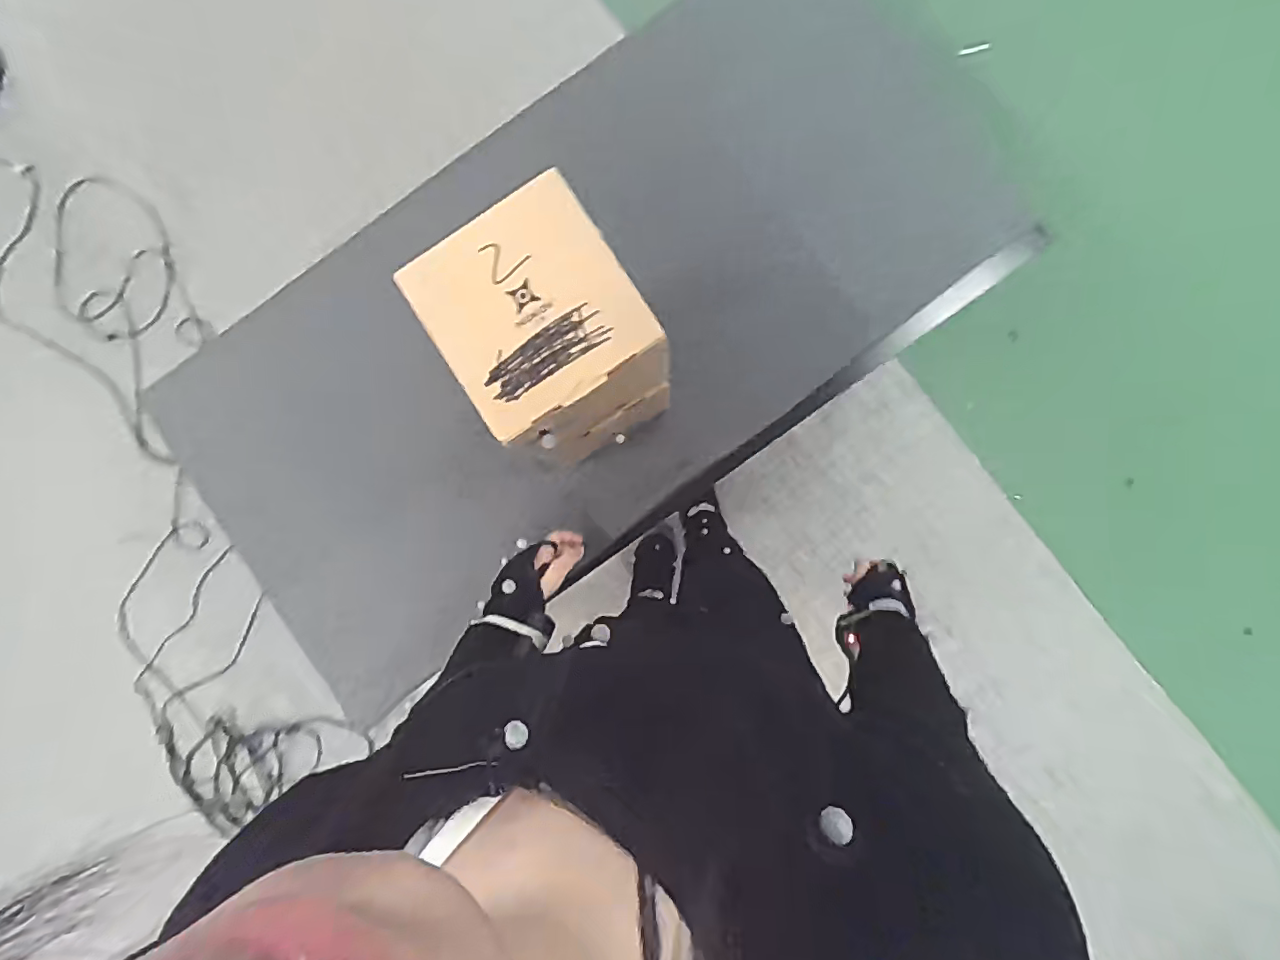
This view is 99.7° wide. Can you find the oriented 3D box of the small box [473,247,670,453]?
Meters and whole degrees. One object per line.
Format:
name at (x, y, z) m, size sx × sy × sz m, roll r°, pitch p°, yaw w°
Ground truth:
small box at (-0.077, -0.149, 0.687) m, size 0.168 × 0.176 × 0.179 m, roll -31°, pitch 88°, yaw 2°
